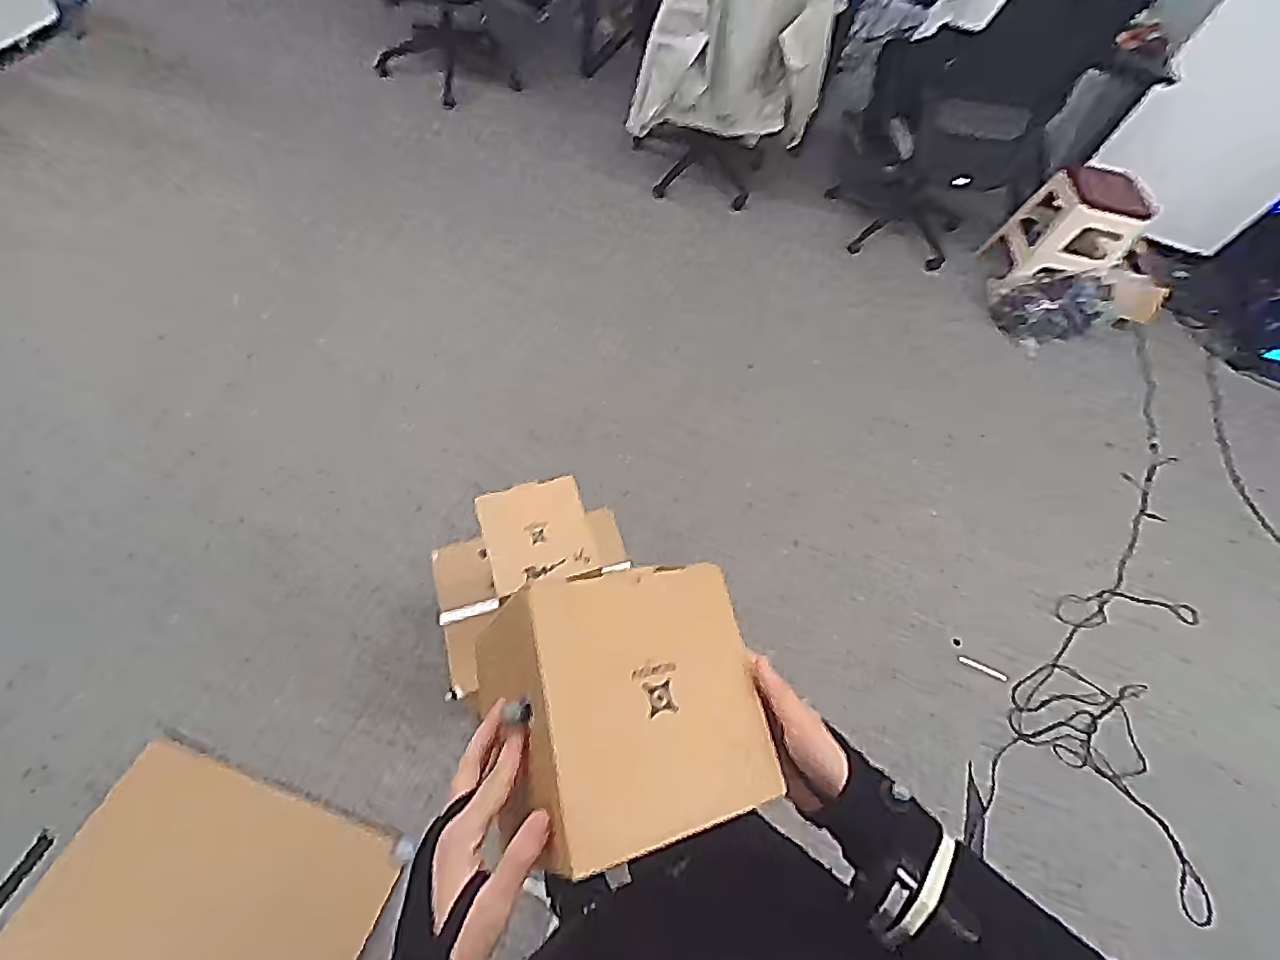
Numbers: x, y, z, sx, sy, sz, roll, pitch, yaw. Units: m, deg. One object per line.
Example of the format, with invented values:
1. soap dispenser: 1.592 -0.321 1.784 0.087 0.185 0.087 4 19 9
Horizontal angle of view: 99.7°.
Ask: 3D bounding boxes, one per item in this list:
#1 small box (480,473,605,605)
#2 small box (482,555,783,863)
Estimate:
1. small box: -0.168 0.117 0.921 0.168 0.176 0.179 -14 63 -16
2. small box: -0.022 0.176 0.439 0.168 0.176 0.179 0 62 -31
